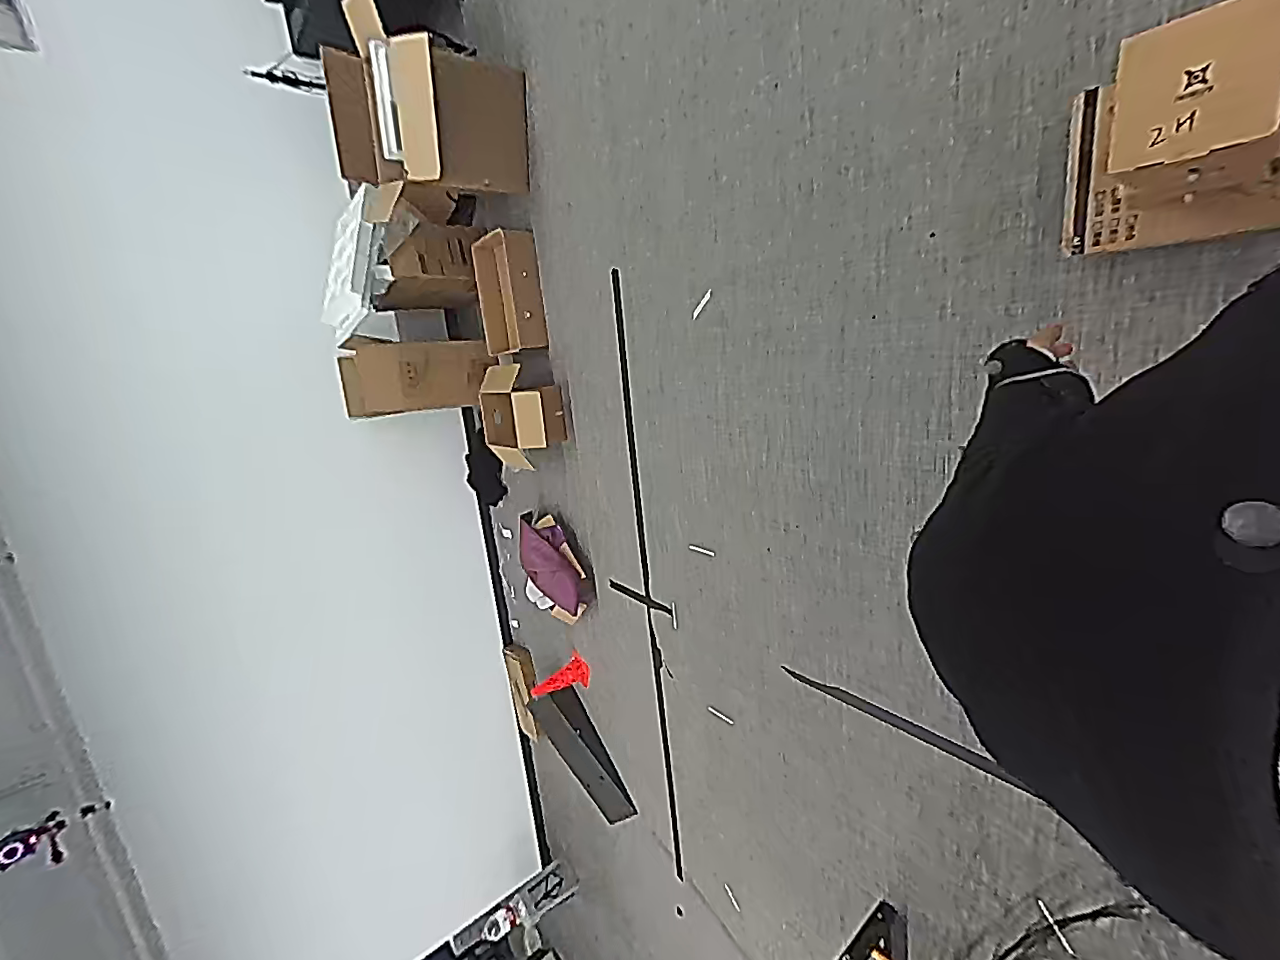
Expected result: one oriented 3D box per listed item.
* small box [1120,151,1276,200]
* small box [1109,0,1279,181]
[{"bbox_3d":[0.906,-0.573,0.871,0.168,0.176,0.179,9,110,50],"label":"small box"},{"bbox_3d":[0.791,-0.543,0.756,0.168,0.176,0.179,12,112,50],"label":"small box"}]
